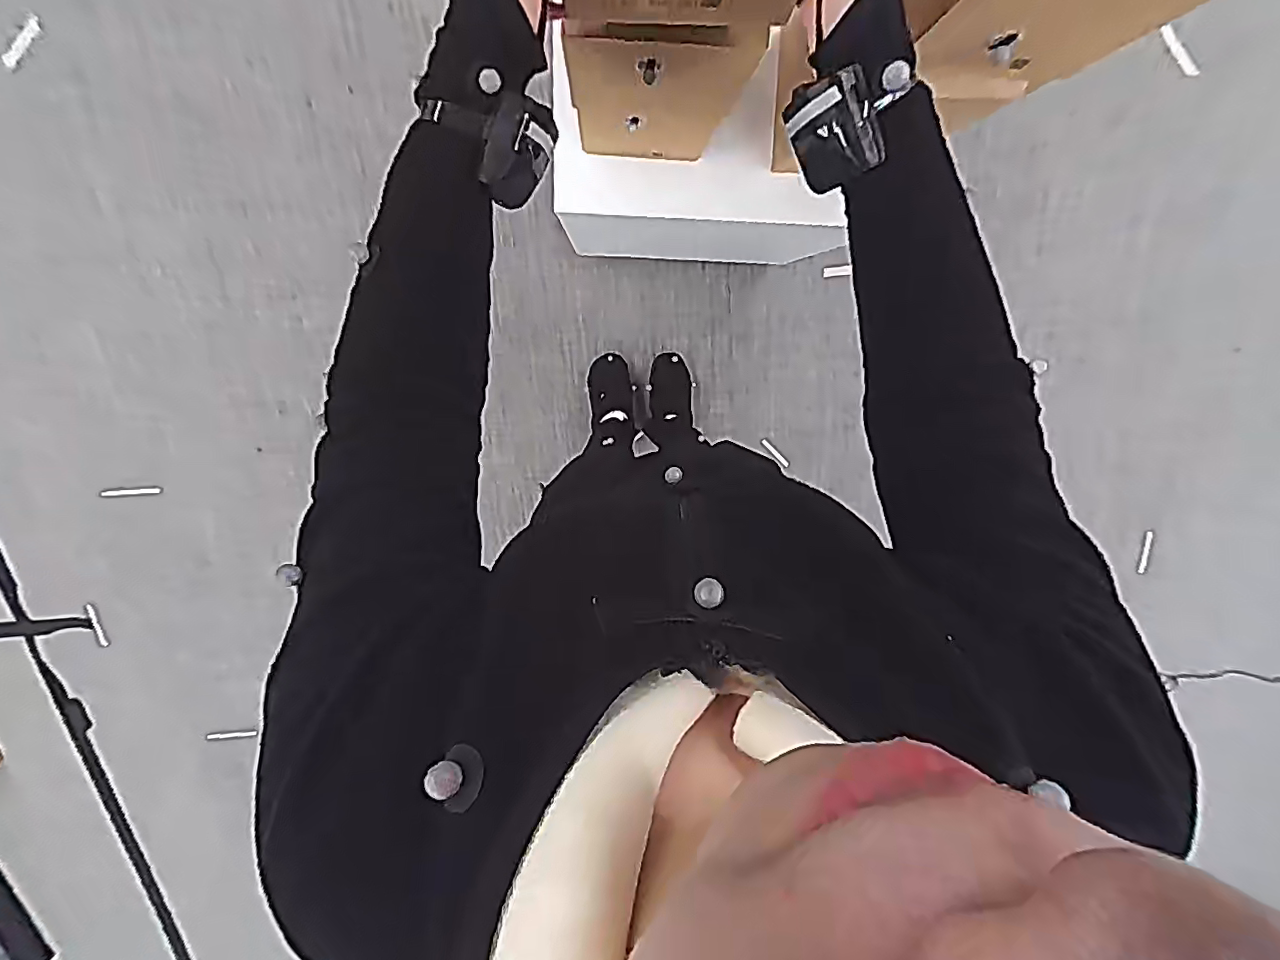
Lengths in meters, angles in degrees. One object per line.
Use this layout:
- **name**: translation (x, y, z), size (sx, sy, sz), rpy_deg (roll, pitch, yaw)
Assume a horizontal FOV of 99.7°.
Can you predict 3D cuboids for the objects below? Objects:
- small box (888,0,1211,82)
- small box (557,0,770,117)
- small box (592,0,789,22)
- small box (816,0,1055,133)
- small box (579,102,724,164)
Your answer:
- **small box**: translation (0.290, -0.405, 0.360), size (0.168, 0.176, 0.179), rpy_deg (0, 107, -3)
- **small box**: translation (0.020, -0.459, 0.498), size (0.179, 0.176, 0.168), rpy_deg (2, 107, -4)
- **small box**: translation (0.032, -0.414, 0.311), size (0.168, 0.176, 0.179), rpy_deg (0, 96, -3)
- **small box**: translation (0.281, -0.454, 0.515), size (0.168, 0.176, 0.179), rpy_deg (0, 106, -3)
- **small box**: translation (0.011, -0.511, 0.655), size (0.168, 0.176, 0.179), rpy_deg (2, 106, -4)
